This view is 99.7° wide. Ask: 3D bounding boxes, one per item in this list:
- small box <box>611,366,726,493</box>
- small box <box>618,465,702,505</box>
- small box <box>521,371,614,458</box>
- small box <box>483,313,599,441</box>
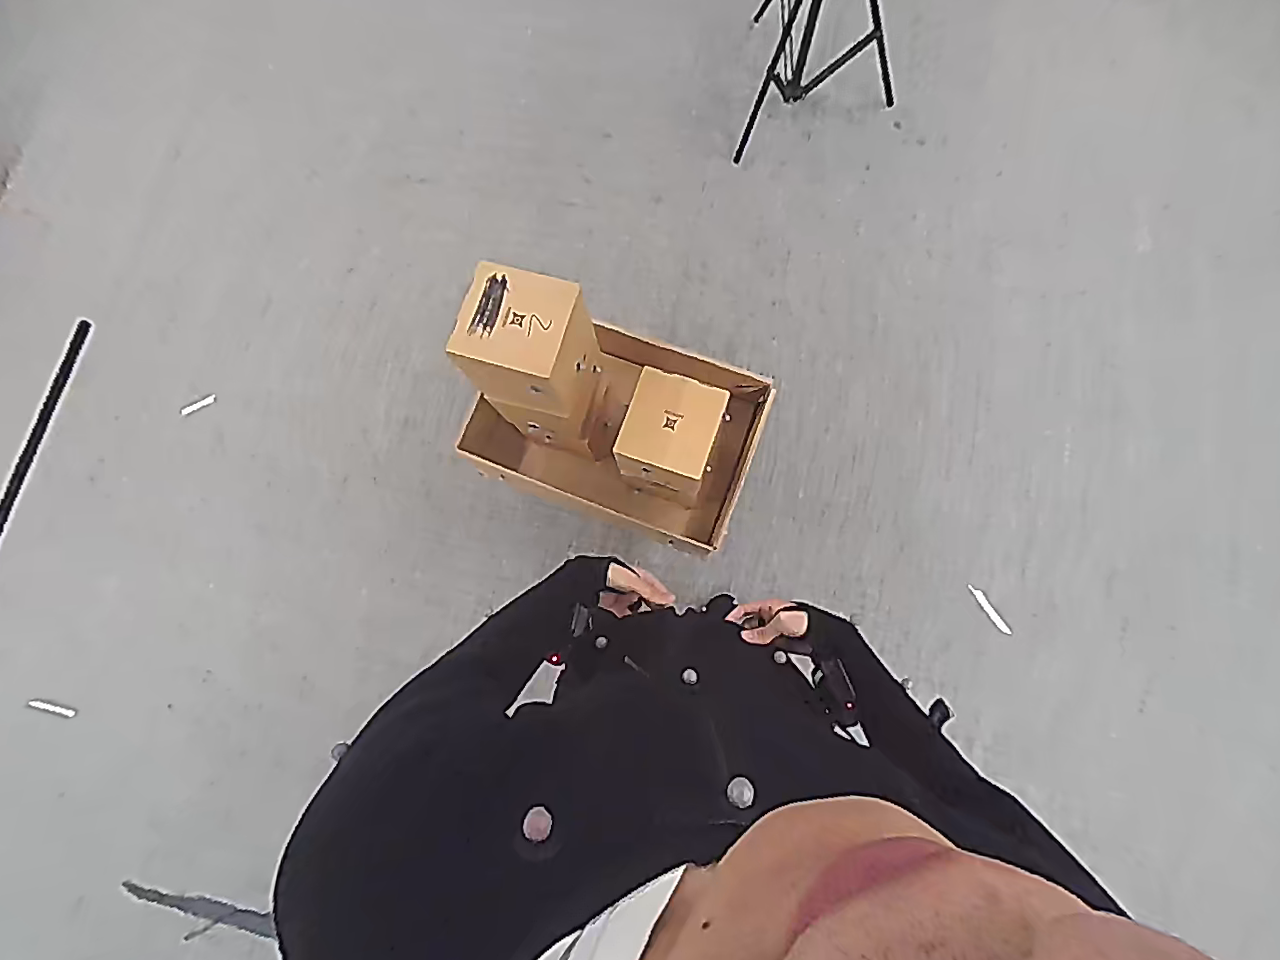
[{"bbox_3d":[0.056,-0.088,1.045,0.168,0.176,0.179,18,79,6],"label":"small box"},{"bbox_3d":[0.062,-0.055,1.204,0.168,0.176,0.179,18,79,6],"label":"small box"},{"bbox_3d":[-0.169,-0.161,1.235,0.179,0.176,0.168,18,80,5],"label":"small box"},{"bbox_3d":[-0.185,-0.197,1.077,0.168,0.176,0.179,15,79,6],"label":"small box"}]
